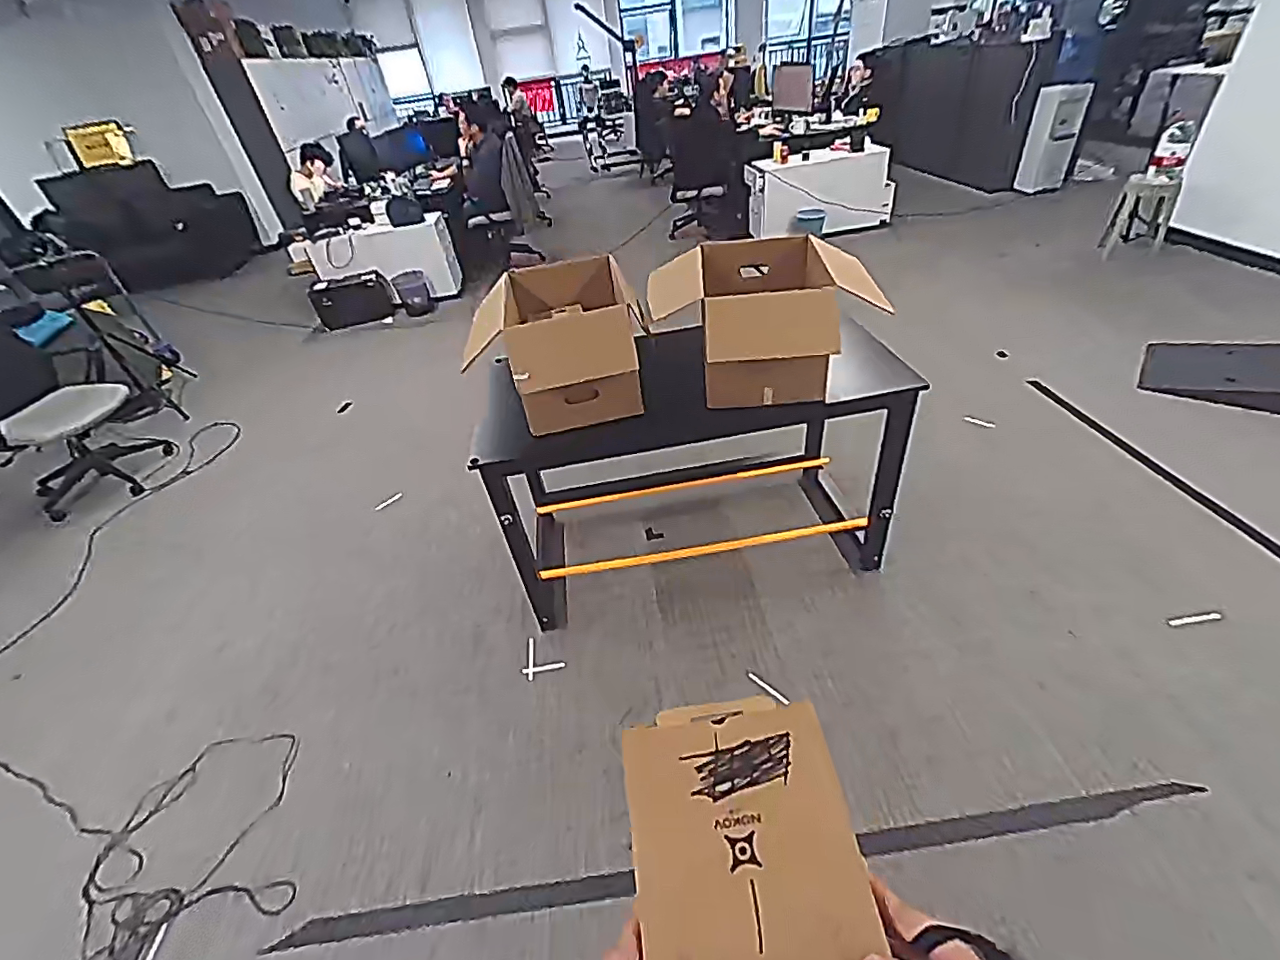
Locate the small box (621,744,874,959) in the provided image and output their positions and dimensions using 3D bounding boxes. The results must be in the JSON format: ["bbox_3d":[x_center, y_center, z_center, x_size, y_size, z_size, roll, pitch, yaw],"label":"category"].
[{"bbox_3d":[0.078,0.346,0.458,0.168,0.176,0.179,-8,52,-1],"label":"small box"}]
